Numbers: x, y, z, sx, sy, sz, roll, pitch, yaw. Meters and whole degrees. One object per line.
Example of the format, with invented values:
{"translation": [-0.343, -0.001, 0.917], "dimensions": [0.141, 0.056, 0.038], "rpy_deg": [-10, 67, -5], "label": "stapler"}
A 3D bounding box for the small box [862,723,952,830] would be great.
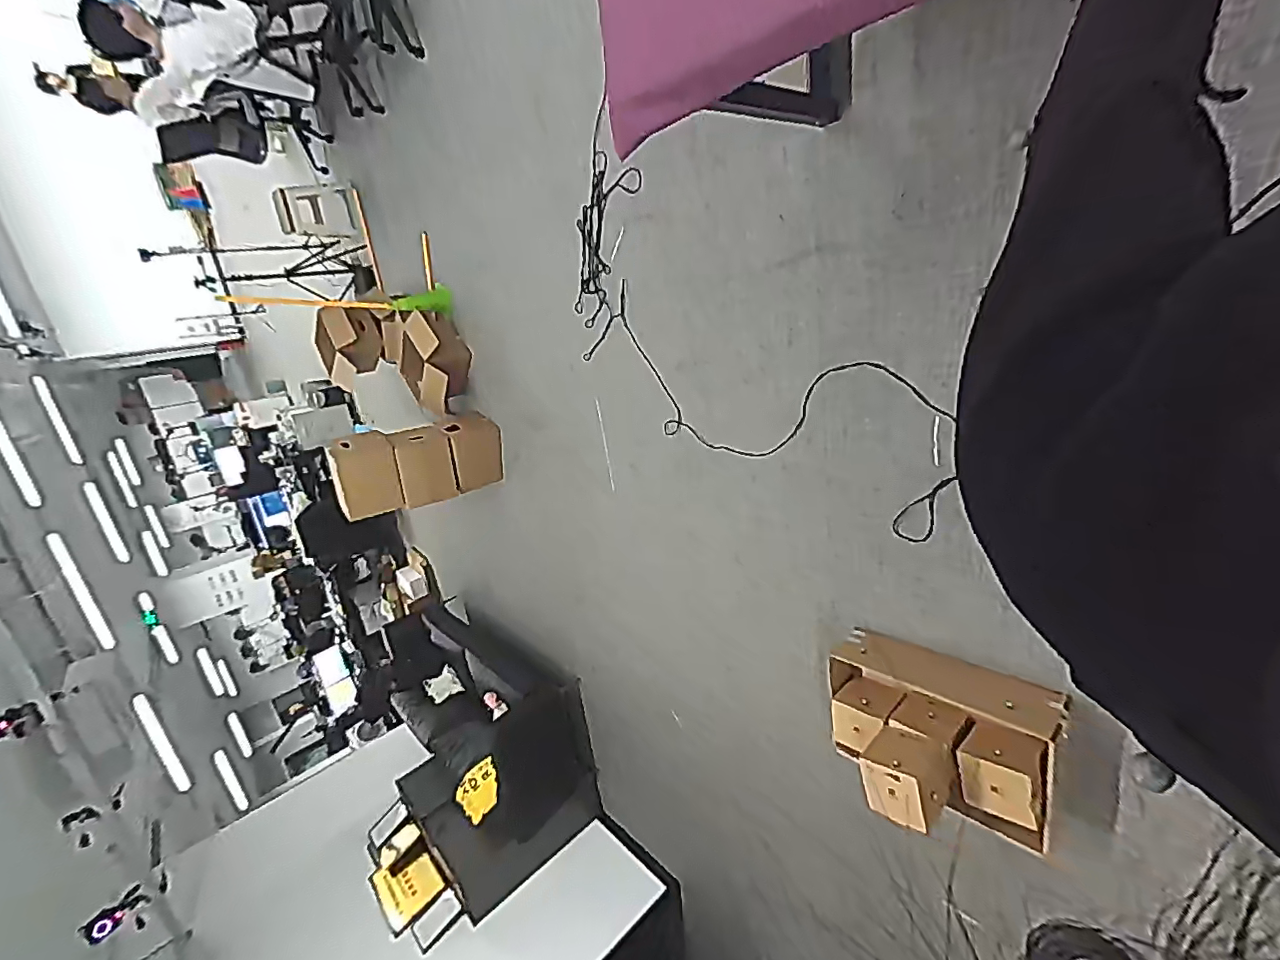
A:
{"translation": [0.770, 0.841, 1.550], "dimensions": [0.168, 0.176, 0.179], "rpy_deg": [-3, 105, 51], "label": "small box"}
